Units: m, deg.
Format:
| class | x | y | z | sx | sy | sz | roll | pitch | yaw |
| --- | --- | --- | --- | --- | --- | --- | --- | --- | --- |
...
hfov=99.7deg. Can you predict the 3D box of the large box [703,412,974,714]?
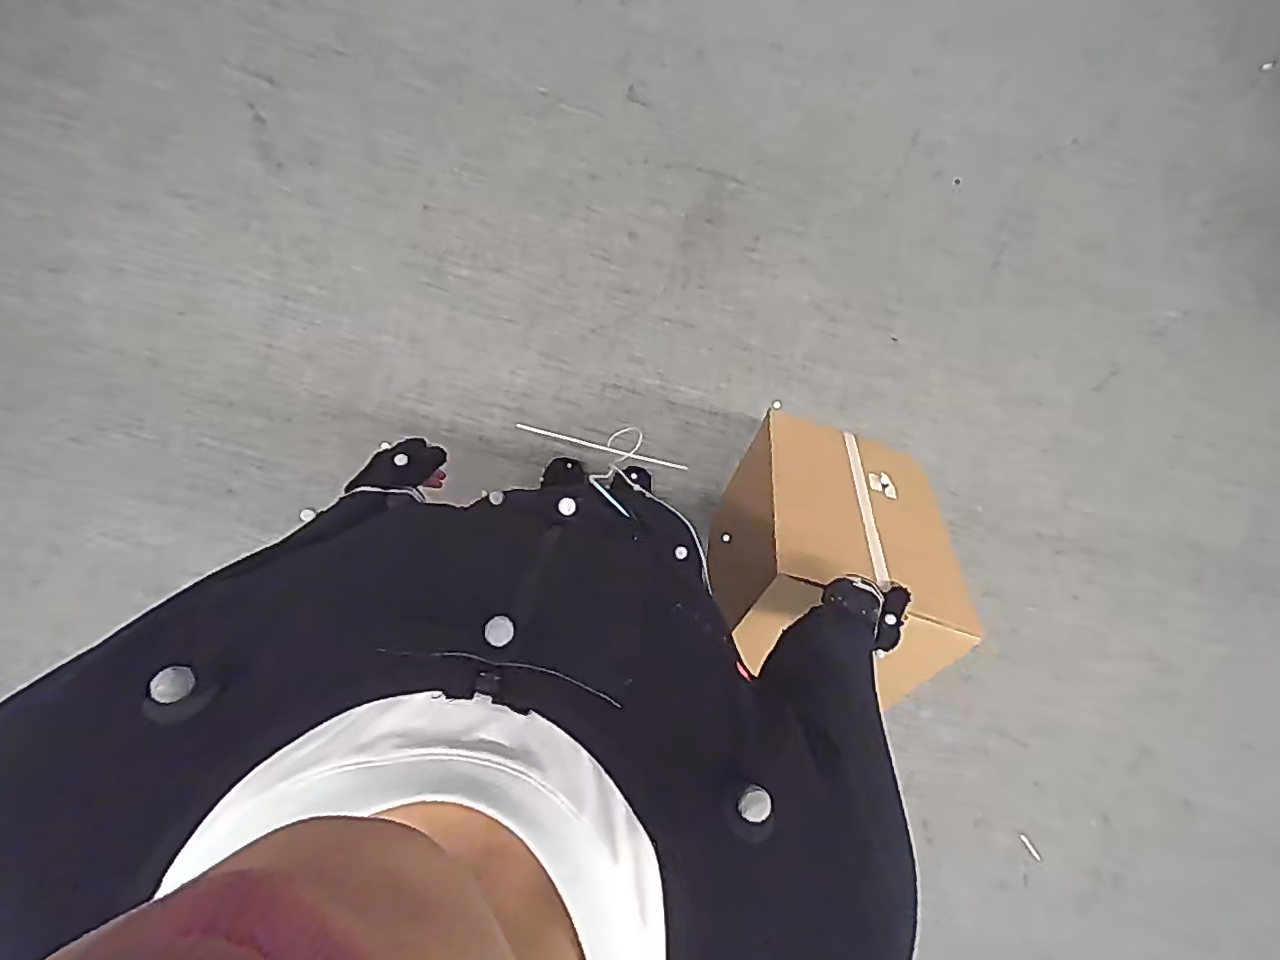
| class | x | y | z | sx | sy | sz | roll | pitch | yaw |
| --- | --- | --- | --- | --- | --- | --- | --- | --- | --- |
| large box | 0.318 | 0.147 | 0.996 | 0.320 | 0.408 | 0.320 | 19 | 132 | -5 |
